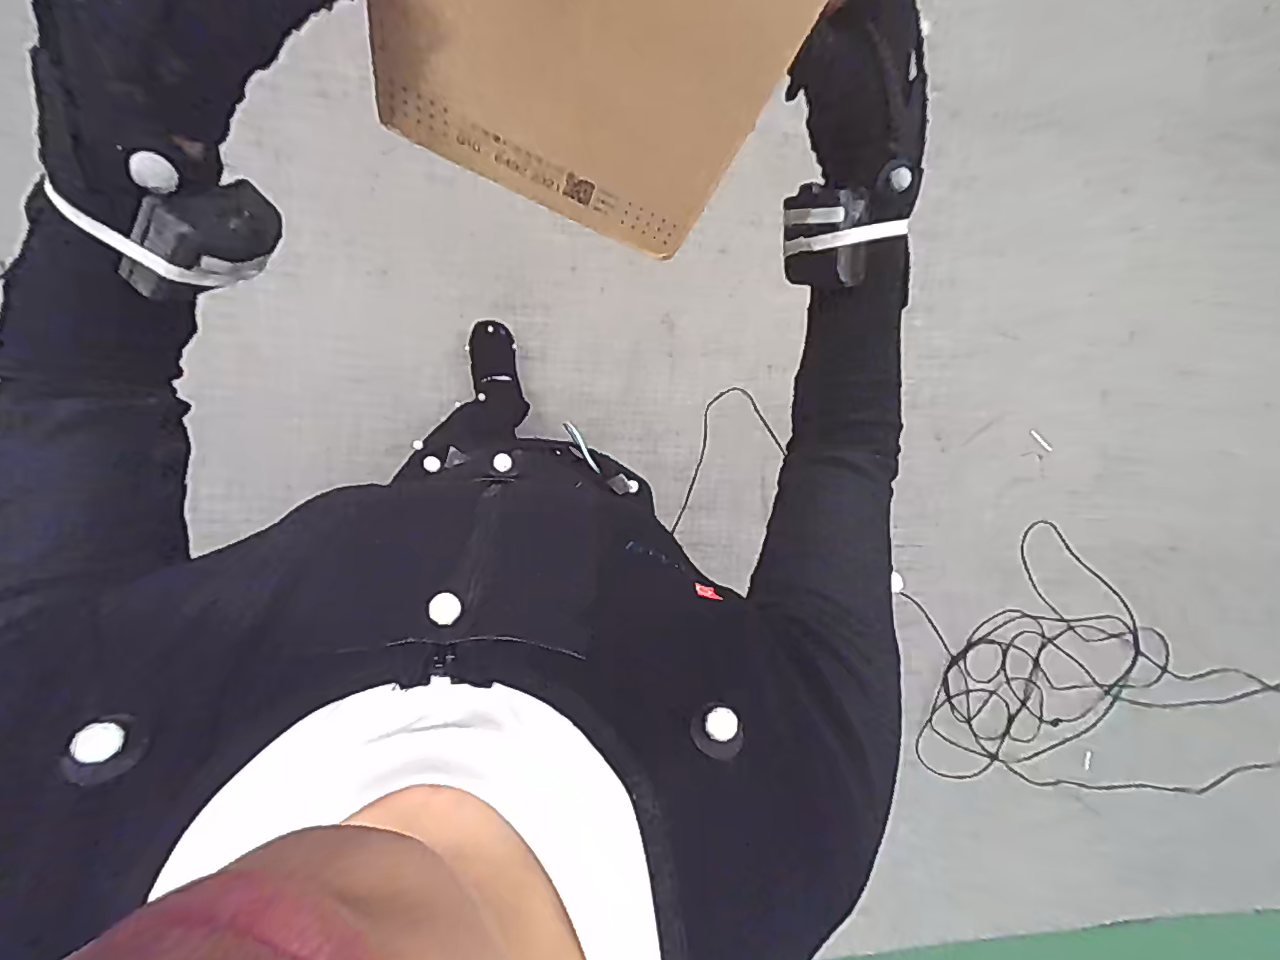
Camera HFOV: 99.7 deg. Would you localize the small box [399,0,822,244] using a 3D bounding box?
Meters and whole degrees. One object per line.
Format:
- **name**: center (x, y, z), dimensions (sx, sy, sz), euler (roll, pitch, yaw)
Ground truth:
- **small box**: center (-0.008, -0.261, 0.262), dimensions (0.168, 0.176, 0.179), euler (21, 65, -14)
